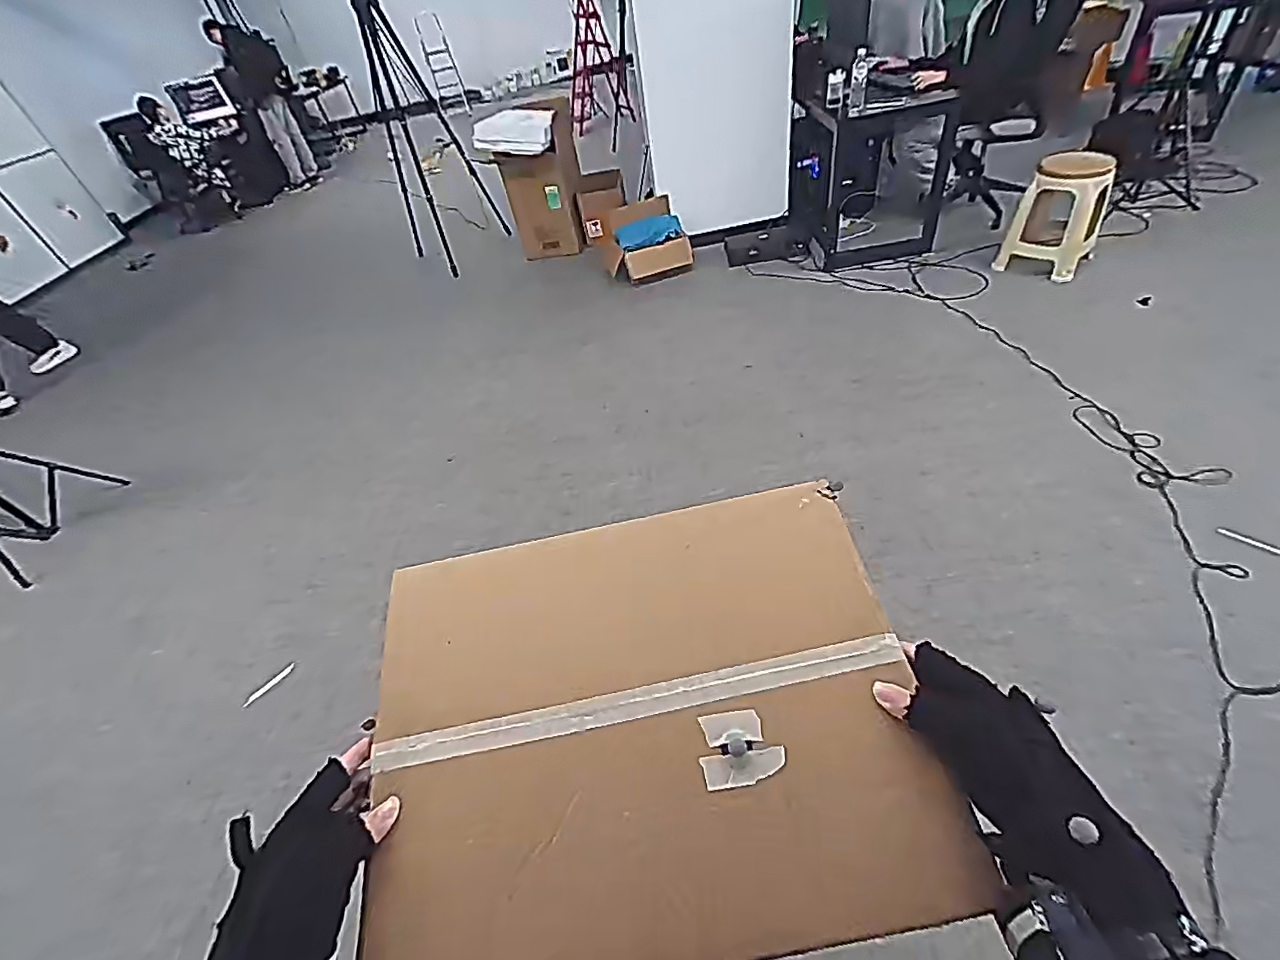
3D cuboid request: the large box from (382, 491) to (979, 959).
[{"bbox_3d":[0.017,0.258,0.550,0.408,0.320,0.320,-12,56,1],"label":"large box"}]
